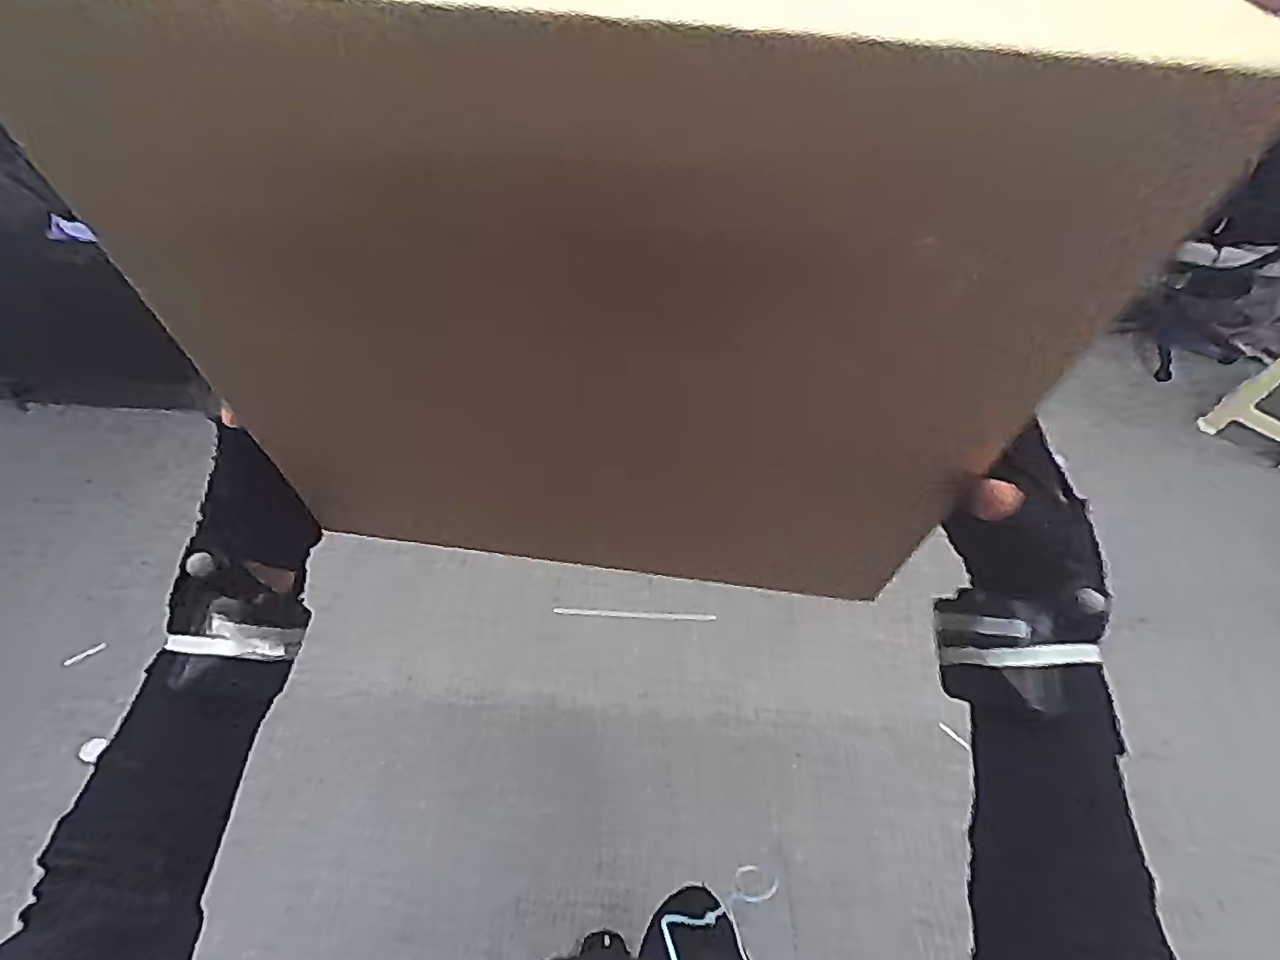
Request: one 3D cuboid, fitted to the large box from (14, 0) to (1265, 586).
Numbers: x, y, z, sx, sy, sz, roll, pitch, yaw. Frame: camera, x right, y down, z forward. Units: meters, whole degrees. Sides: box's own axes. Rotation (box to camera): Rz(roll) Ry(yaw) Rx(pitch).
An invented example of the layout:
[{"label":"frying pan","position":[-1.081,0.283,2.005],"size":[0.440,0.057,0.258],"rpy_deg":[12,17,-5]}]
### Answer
[{"label":"large box","position":[0.001,-0.152,0.375],"size":[0.408,0.320,0.320],"rpy_deg":[8,53,2]}]
